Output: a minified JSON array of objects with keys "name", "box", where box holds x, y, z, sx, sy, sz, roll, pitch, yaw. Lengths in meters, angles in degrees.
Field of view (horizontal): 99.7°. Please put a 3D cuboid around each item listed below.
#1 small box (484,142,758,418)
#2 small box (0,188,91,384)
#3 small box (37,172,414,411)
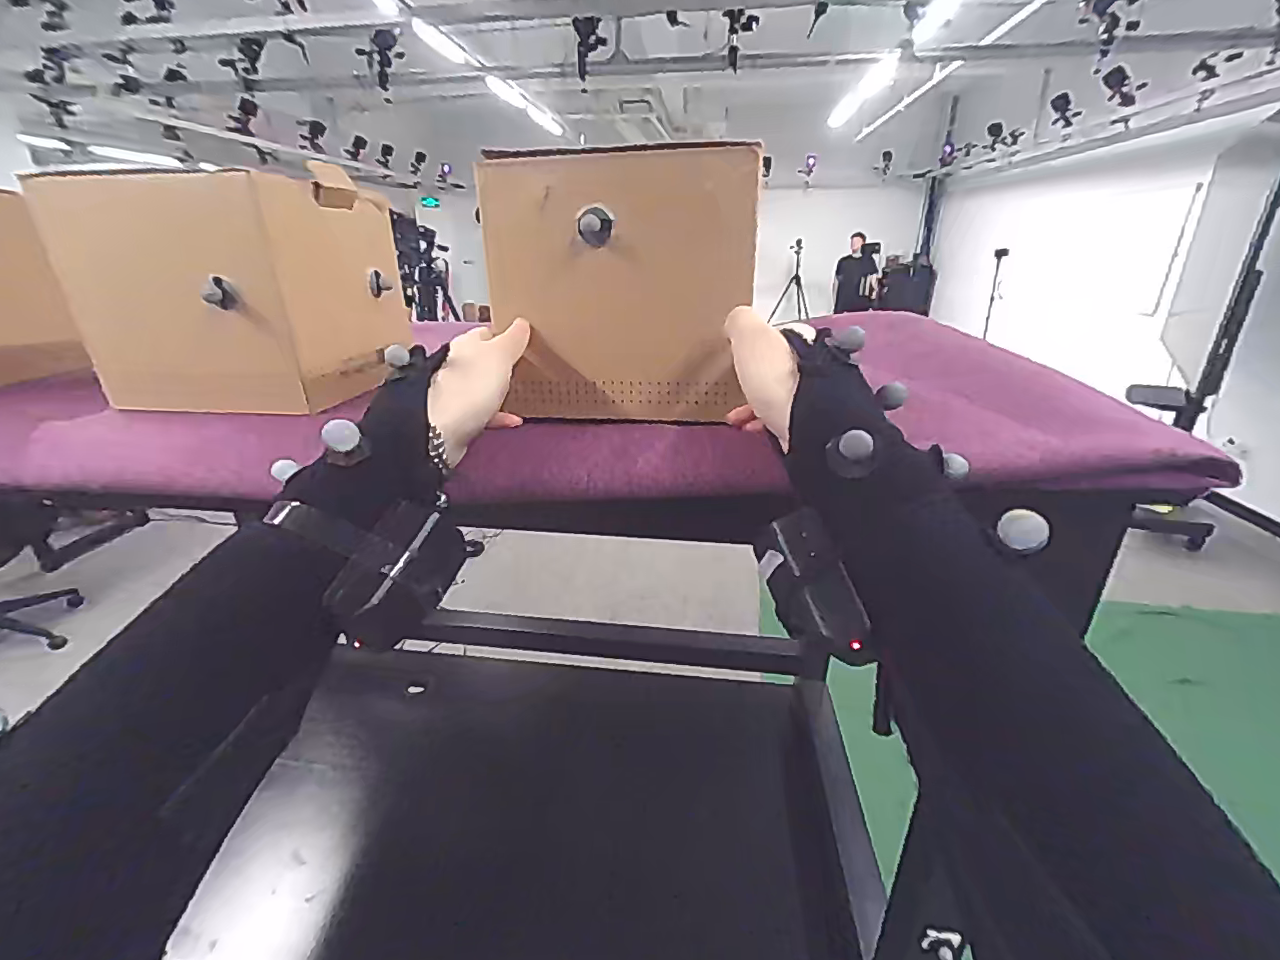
[{"name":"small box","box":[0.000,-0.148,0.428,0.179,0.176,0.168,3,21,9]},{"name":"small box","box":[-0.664,-0.167,0.477,0.168,0.176,0.179,3,24,4]},{"name":"small box","box":[-0.322,-0.159,0.467,0.179,0.176,0.168,1,22,6]}]
